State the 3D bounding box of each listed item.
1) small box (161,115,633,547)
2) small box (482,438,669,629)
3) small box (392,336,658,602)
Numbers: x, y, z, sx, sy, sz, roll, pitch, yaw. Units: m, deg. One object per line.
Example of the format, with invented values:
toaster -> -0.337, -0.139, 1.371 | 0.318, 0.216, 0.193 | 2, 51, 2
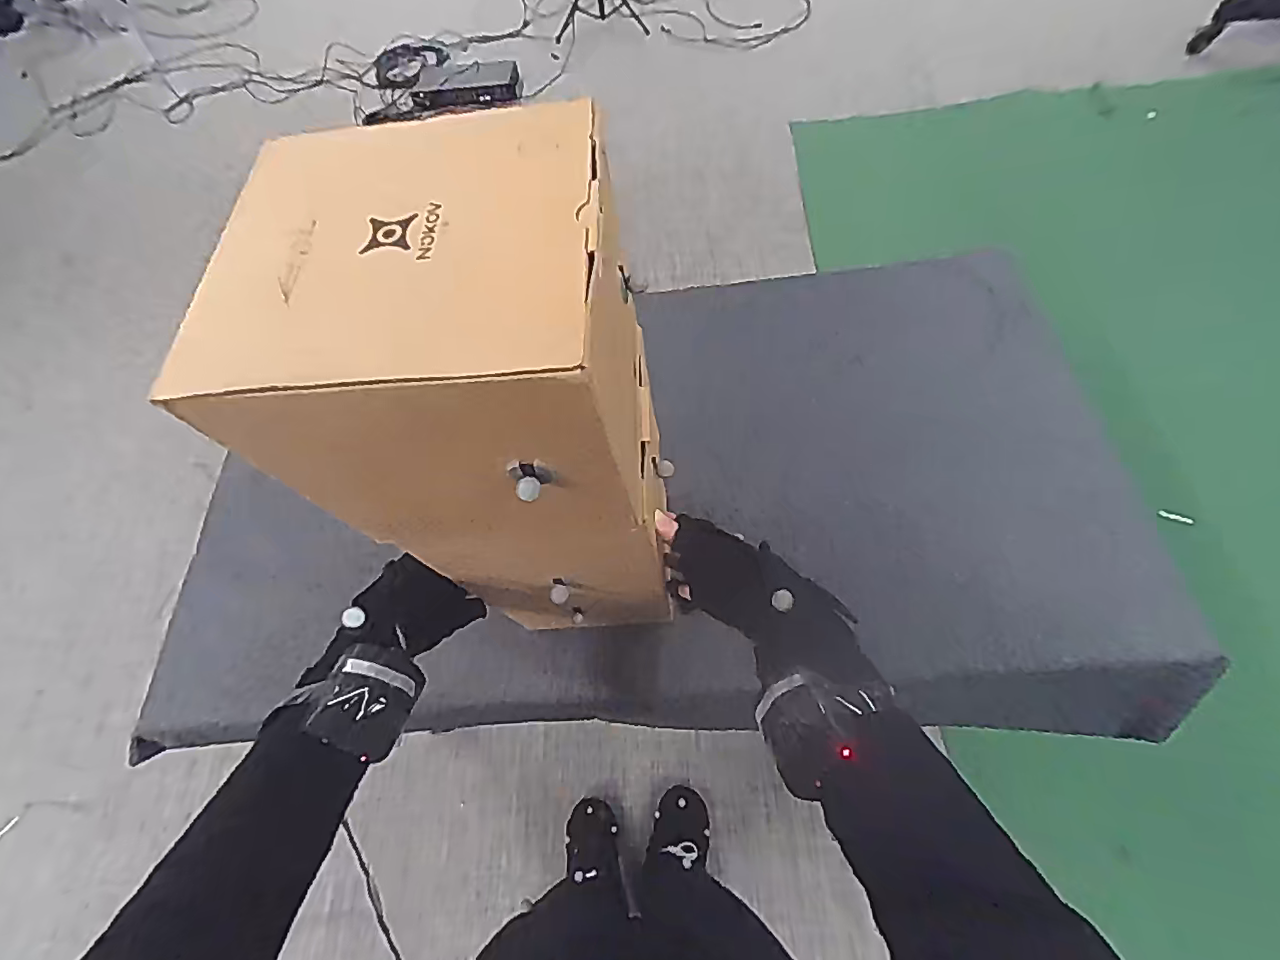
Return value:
small box -> -0.098, -0.067, 0.314 | 0.179, 0.176, 0.168 | -5, 63, 7
small box -> -0.060, 0.067, 0.608 | 0.179, 0.176, 0.168 | -5, 63, 5
small box -> -0.078, 0.001, 0.462 | 0.179, 0.176, 0.168 | -7, 64, 4
